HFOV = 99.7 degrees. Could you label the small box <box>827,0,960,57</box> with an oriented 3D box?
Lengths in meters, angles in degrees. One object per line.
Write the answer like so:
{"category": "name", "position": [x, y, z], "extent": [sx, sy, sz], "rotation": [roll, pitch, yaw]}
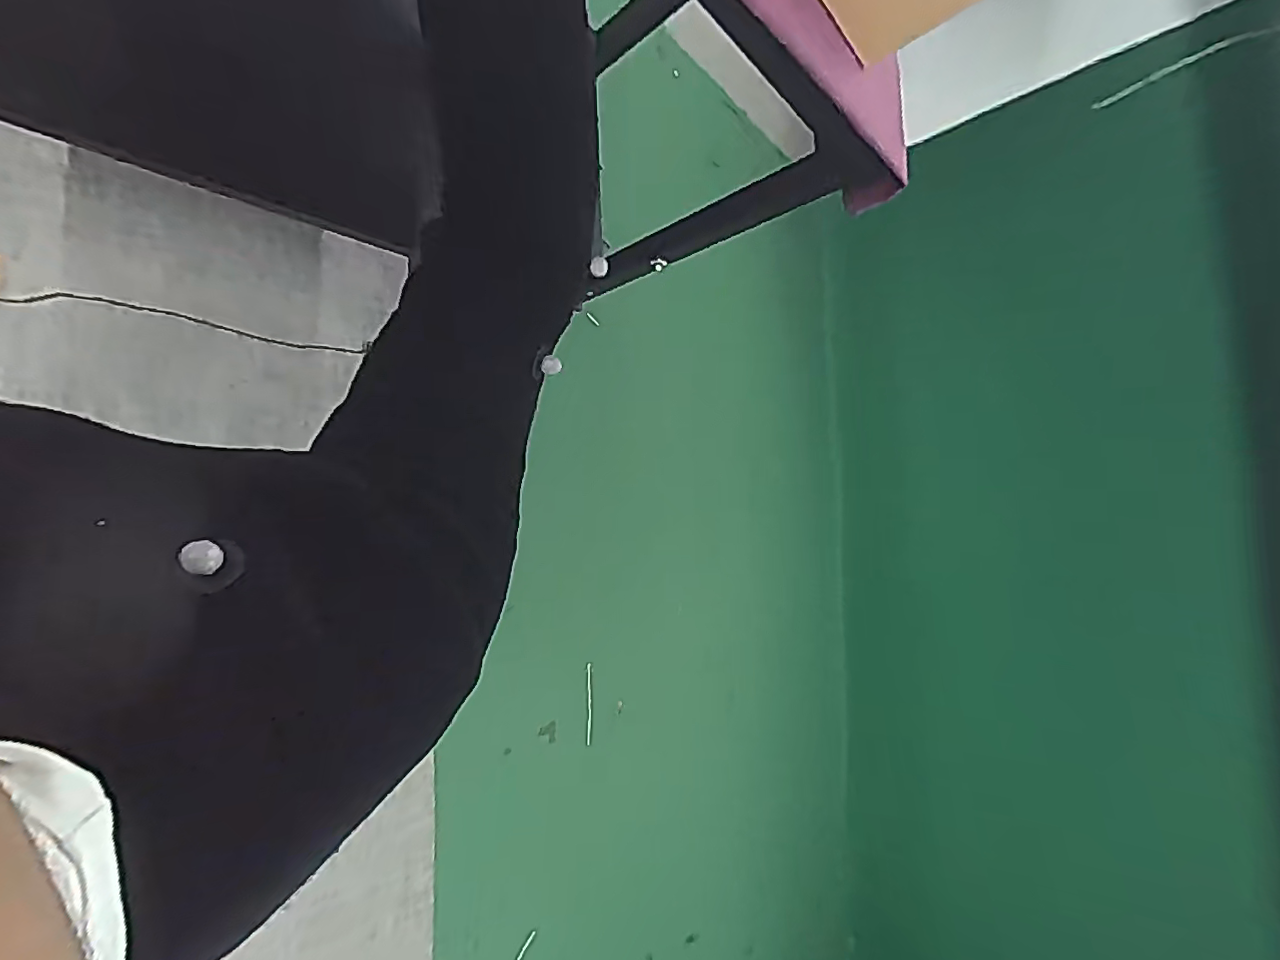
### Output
{"category": "small box", "position": [0.293, -0.631, 0.599], "extent": [0.179, 0.176, 0.168], "rotation": [3, 82, -48]}
